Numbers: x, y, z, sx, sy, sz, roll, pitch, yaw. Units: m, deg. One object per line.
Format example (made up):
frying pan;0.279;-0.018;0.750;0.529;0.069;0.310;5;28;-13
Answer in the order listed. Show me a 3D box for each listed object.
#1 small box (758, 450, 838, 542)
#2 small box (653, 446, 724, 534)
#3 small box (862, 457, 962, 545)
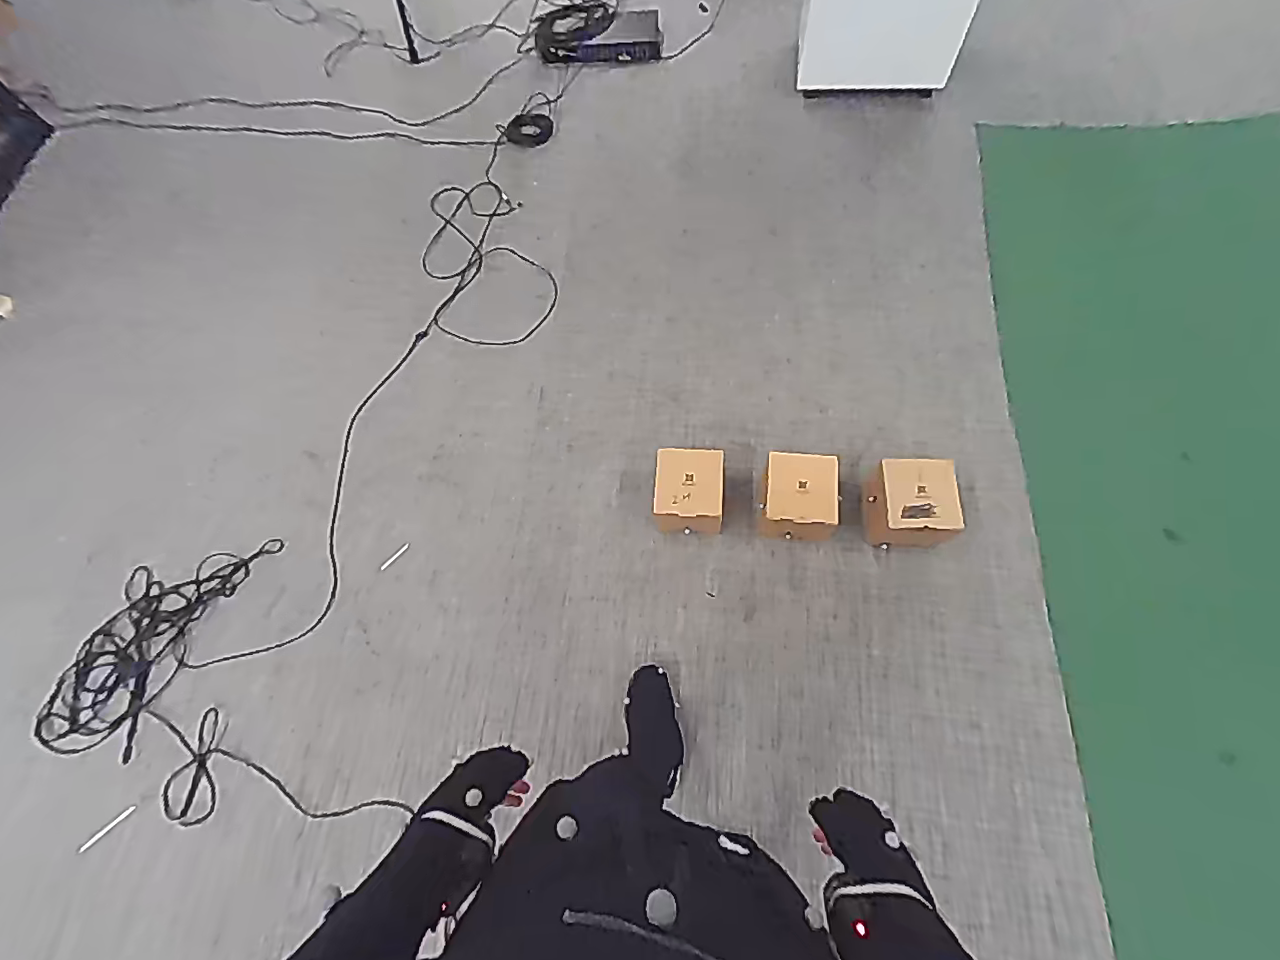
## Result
small box;0.392;0.043;1.360;0.168;0.176;0.179;5;69;7
small box;0.126;0.029;1.388;0.168;0.176;0.179;2;69;7
small box;0.659;0.058;1.329;0.168;0.176;0.179;2;68;6
